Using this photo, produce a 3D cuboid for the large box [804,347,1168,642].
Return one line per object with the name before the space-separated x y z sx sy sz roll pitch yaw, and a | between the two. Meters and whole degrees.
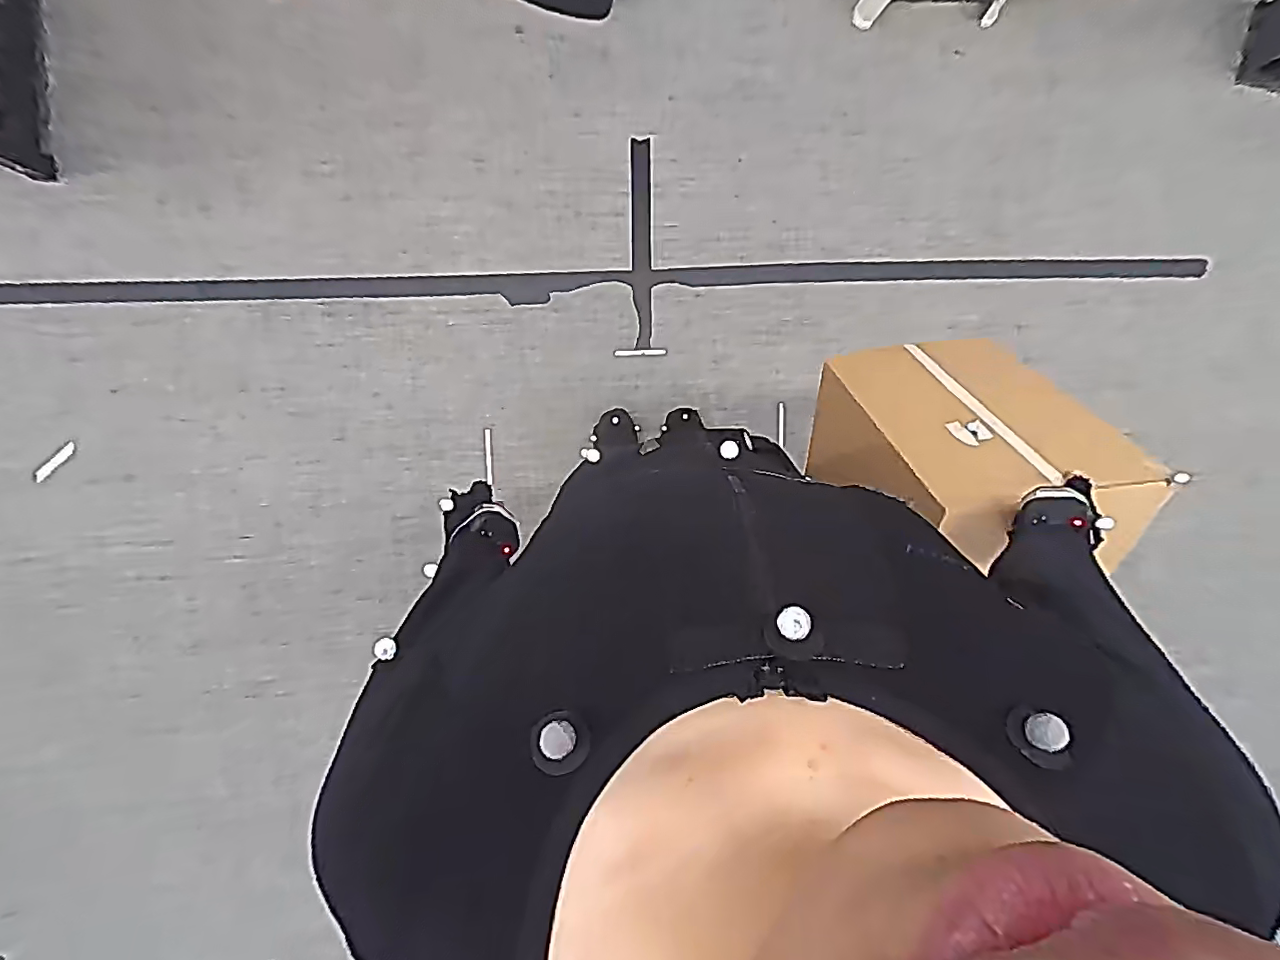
large box | 0.522 0.011 0.941 0.320 0.408 0.320 -7 132 -3
